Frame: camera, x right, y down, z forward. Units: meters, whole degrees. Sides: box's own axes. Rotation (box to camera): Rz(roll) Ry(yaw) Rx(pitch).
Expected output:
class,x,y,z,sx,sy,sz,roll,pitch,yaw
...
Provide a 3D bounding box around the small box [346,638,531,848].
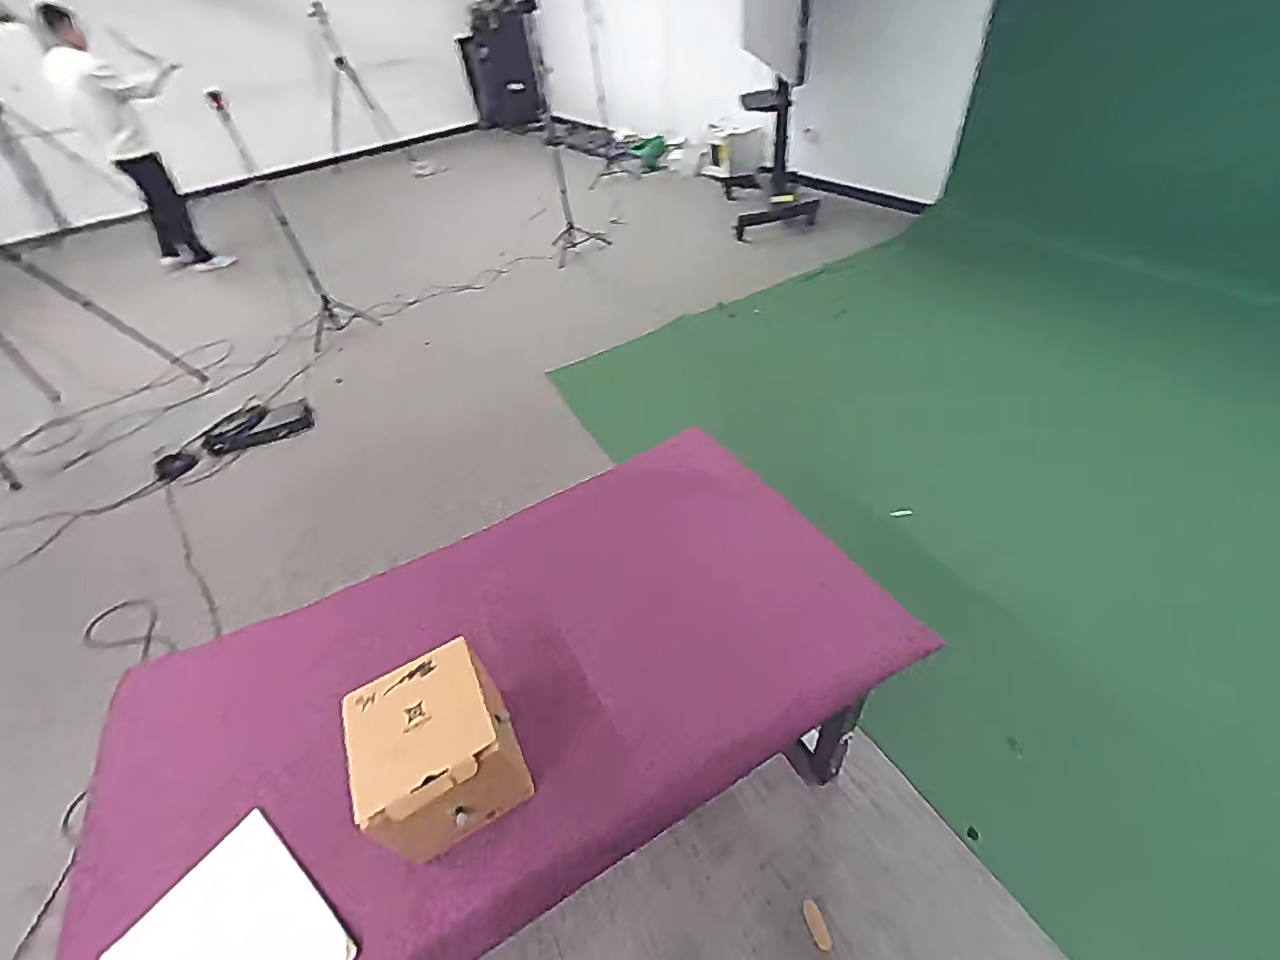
class,x,y,z,sx,sy,sz,roll,pitch,yaw
small box,-0.263,0.356,0.724,0.168,0.176,0.179,-25,46,-17
